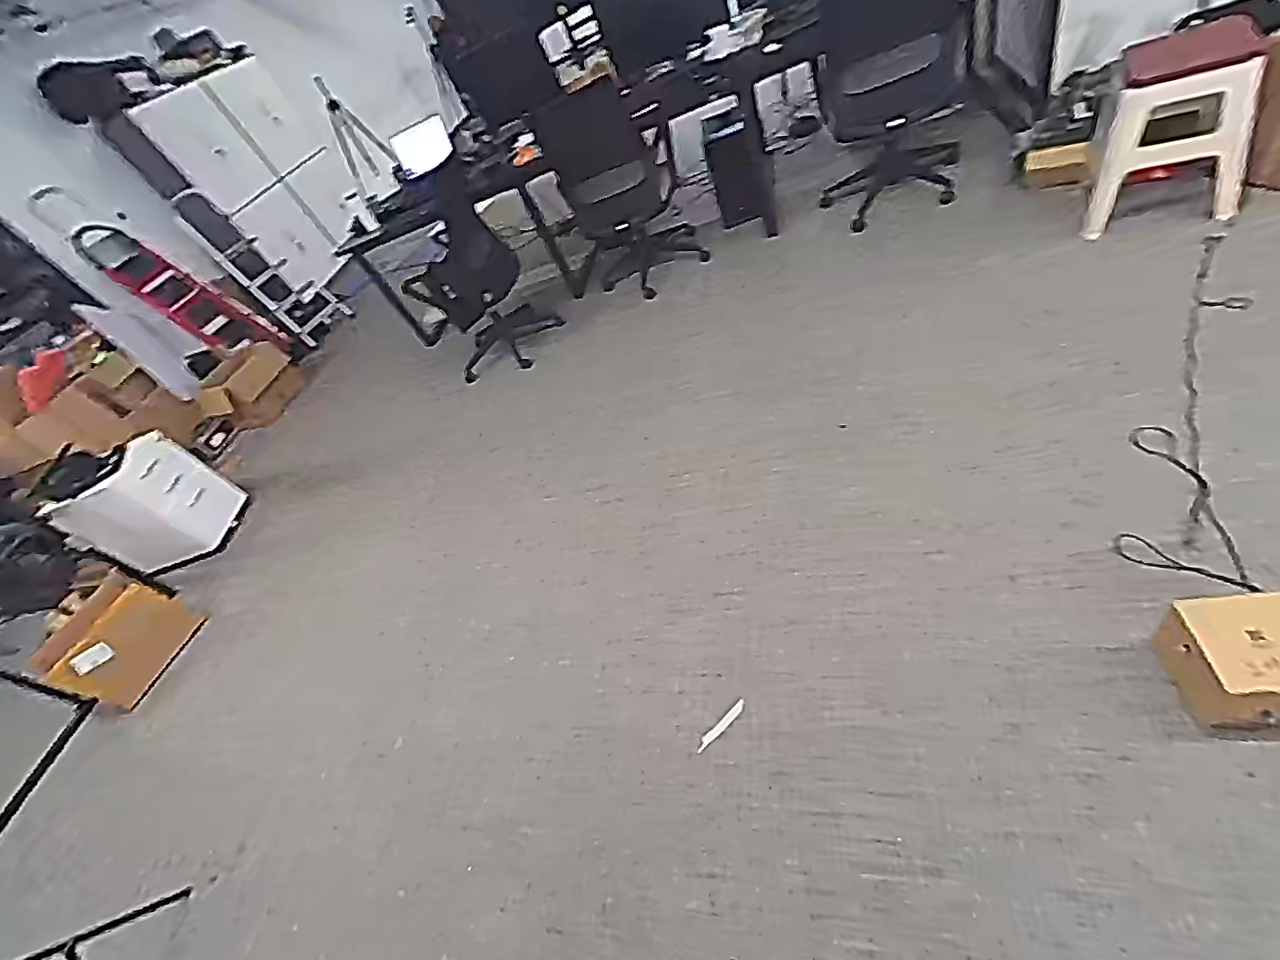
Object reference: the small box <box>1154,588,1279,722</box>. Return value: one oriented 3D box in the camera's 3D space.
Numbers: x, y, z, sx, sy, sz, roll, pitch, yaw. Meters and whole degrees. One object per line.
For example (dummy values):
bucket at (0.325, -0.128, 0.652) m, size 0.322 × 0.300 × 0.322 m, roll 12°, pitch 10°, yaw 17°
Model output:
small box at (1.094, 0.321, 0.985) m, size 0.168 × 0.176 × 0.179 m, roll -13°, pitch 46°, yaw 20°
